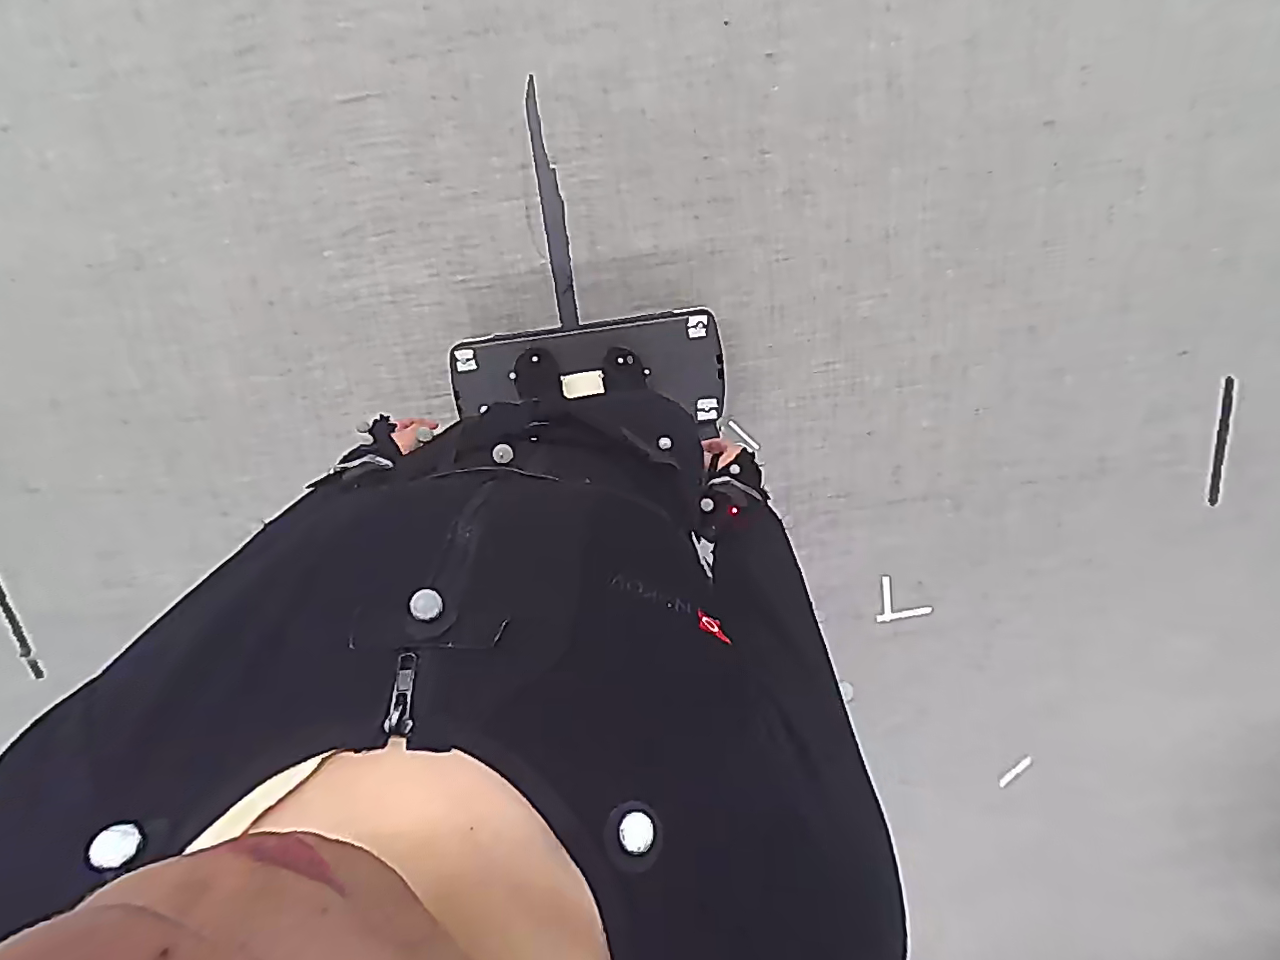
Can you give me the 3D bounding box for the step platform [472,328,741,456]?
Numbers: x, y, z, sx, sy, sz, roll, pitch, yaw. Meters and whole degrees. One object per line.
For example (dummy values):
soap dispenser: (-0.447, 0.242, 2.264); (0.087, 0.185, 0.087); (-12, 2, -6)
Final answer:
step platform: (-0.083, -0.231, 1.412); (0.684, 0.204, 0.286); (-4, 105, -1)
